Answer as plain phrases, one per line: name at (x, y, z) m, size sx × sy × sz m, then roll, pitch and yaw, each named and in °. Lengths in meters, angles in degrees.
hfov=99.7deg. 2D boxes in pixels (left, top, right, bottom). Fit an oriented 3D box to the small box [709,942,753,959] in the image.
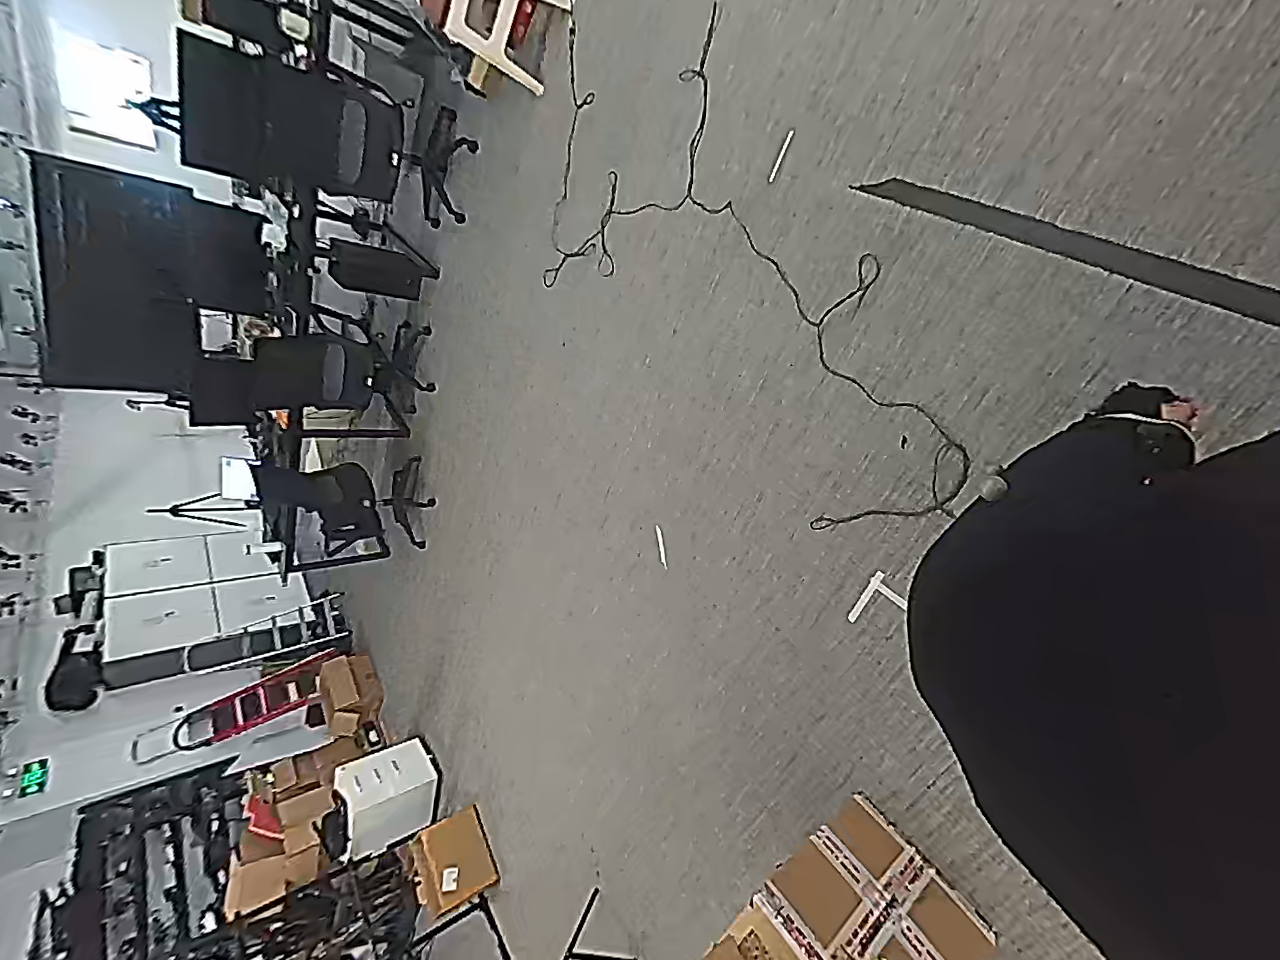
small box at (0.184, 1.164, 1.177) m, size 0.179 × 0.176 × 0.168 m, roll 44°, pitch 123°, yaw 38°
